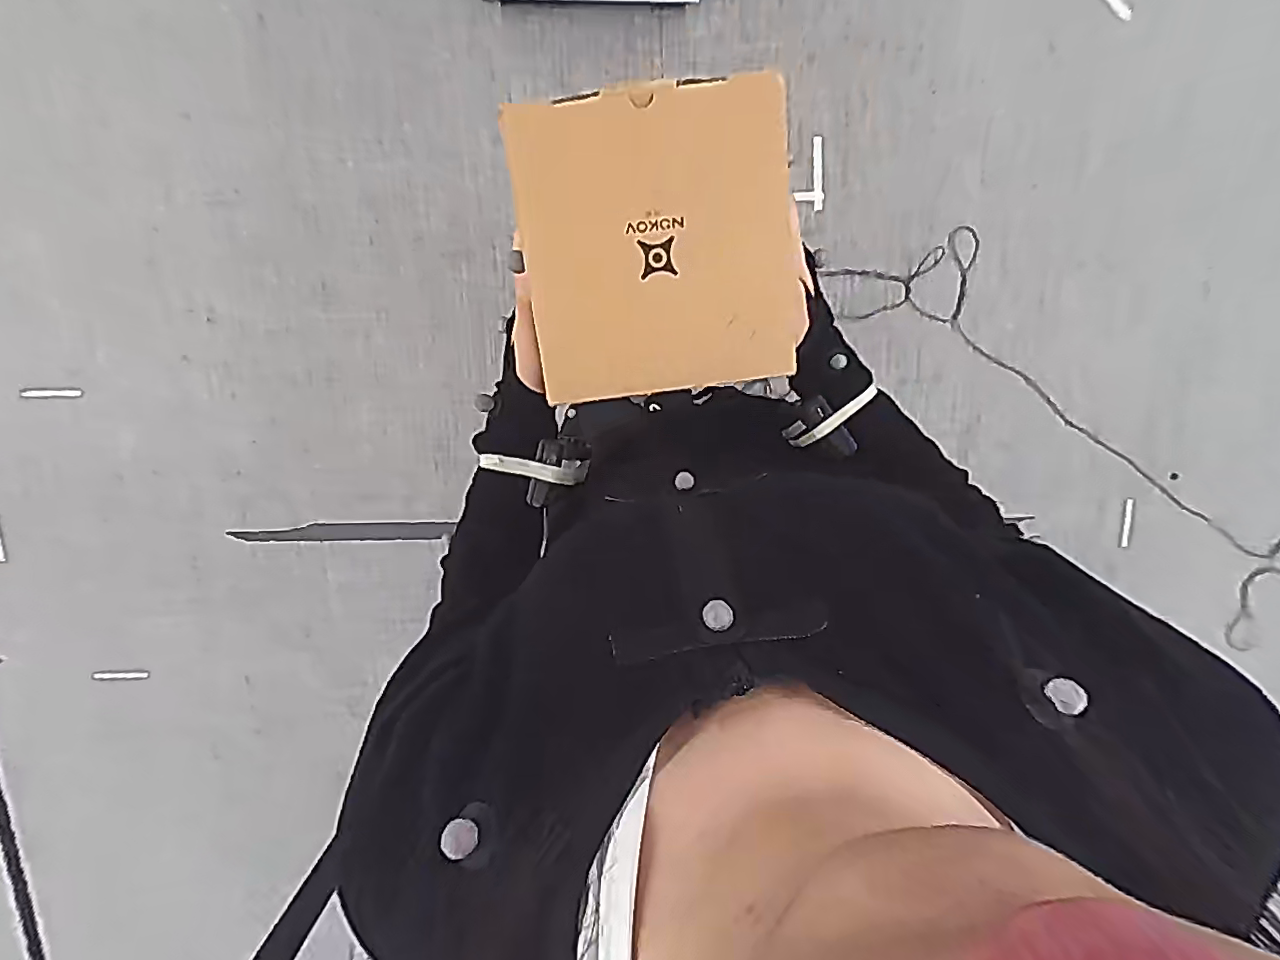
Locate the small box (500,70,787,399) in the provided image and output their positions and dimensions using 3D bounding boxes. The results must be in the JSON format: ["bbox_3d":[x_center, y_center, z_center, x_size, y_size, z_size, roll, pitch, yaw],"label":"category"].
[{"bbox_3d":[0.007,-0.165,0.412,0.168,0.176,0.179,-7,104,0],"label":"small box"}]
